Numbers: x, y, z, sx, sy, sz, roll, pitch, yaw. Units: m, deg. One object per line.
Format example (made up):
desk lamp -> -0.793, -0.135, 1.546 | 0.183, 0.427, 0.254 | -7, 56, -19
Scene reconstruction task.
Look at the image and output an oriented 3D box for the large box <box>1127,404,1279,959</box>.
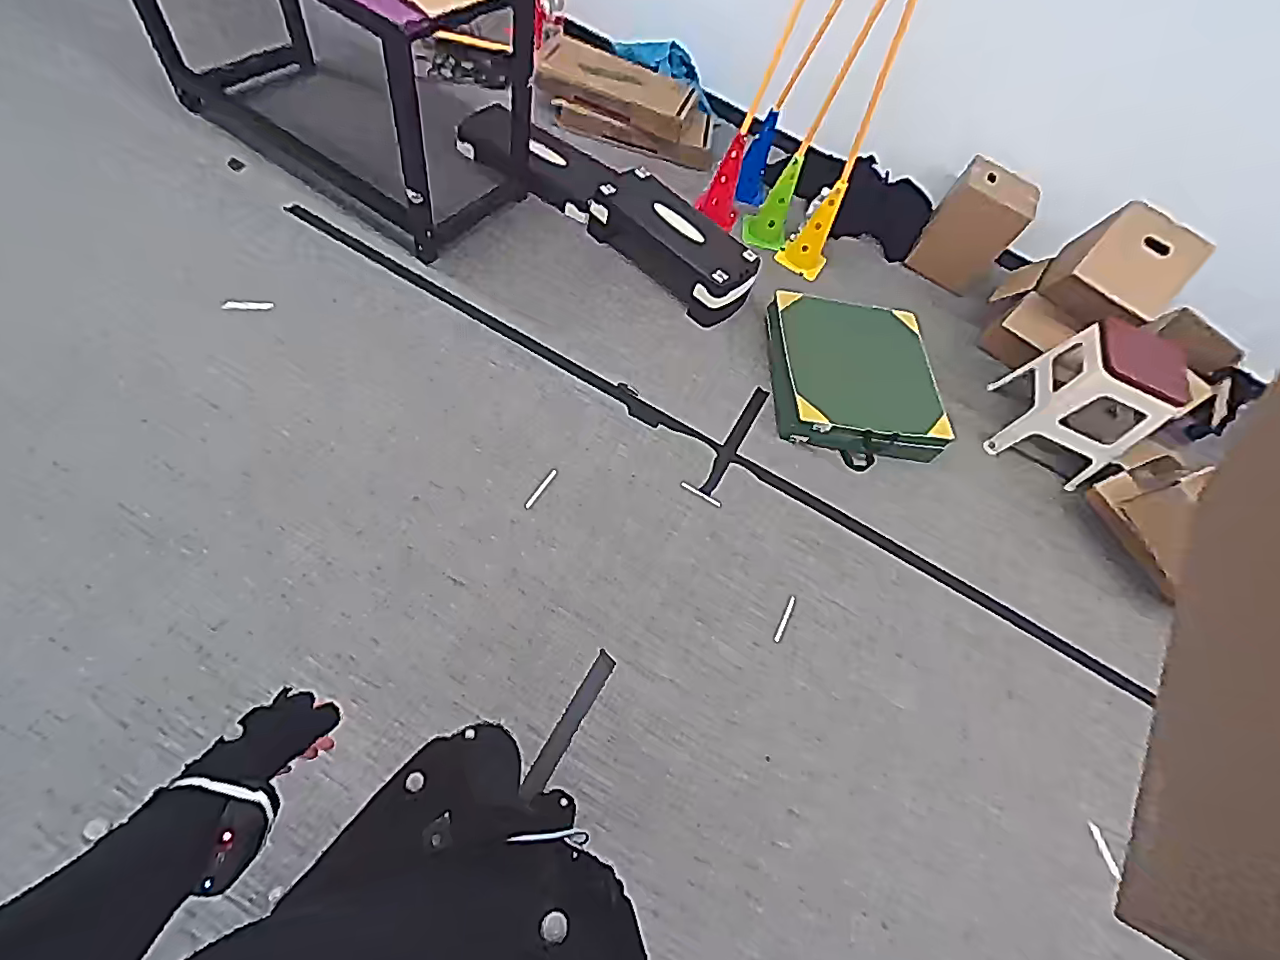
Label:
large box -> 0.397, 0.083, 0.143 | 0.320, 0.408, 0.320 | 17, 72, 38
